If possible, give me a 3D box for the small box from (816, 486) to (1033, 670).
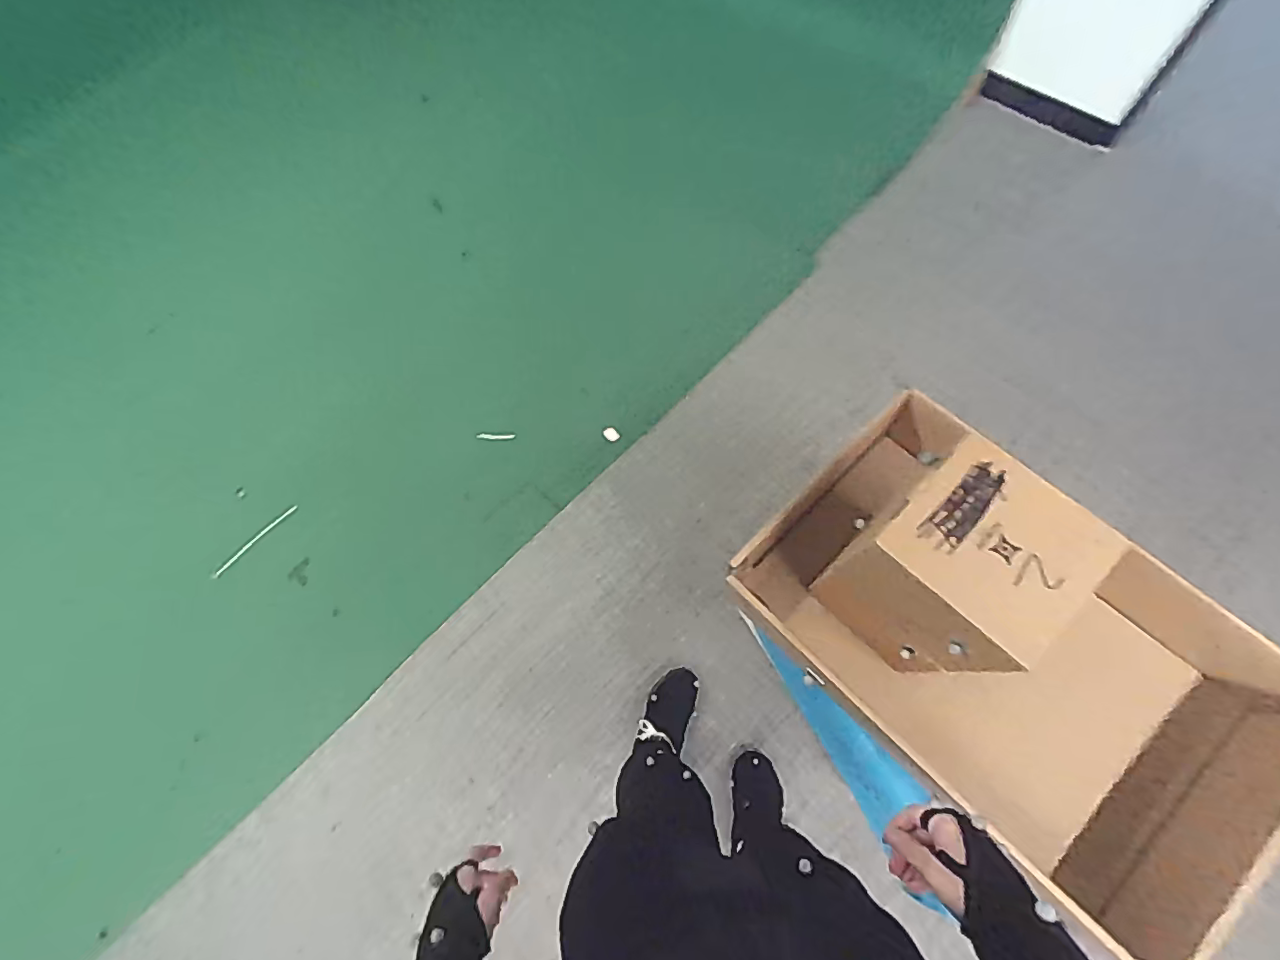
[{"bbox_3d":[0.373,0.144,0.749,0.168,0.176,0.179,-44,73,-9],"label":"small box"}]
